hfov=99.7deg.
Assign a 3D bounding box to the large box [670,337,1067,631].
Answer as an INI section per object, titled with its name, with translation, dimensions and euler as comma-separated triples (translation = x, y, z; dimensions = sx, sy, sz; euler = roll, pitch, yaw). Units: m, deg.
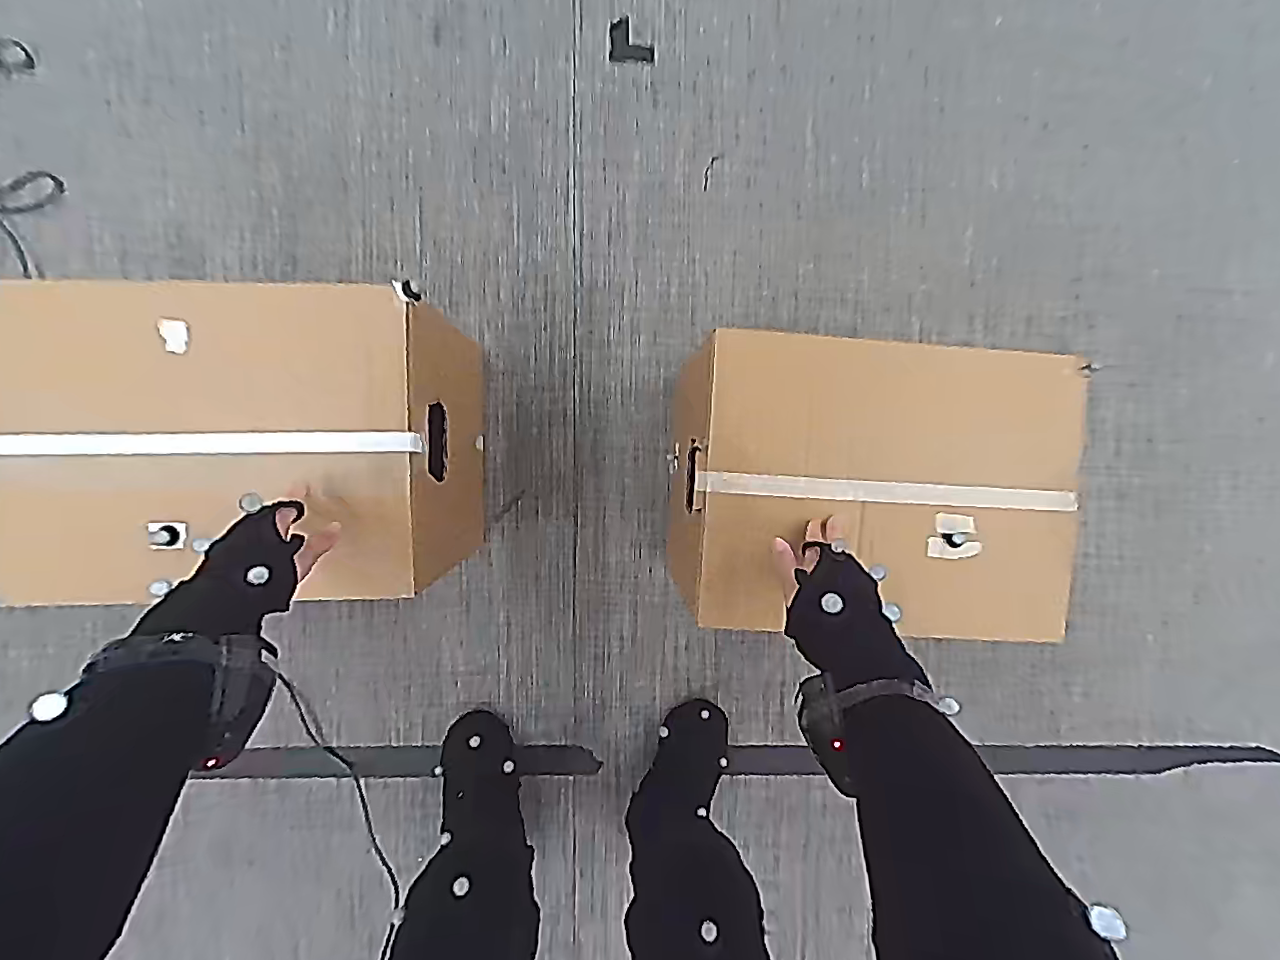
[large box]
translation = 0.260, 0.007, 0.739
dimensions = 0.408, 0.320, 0.320
euler = 3, 92, -4
